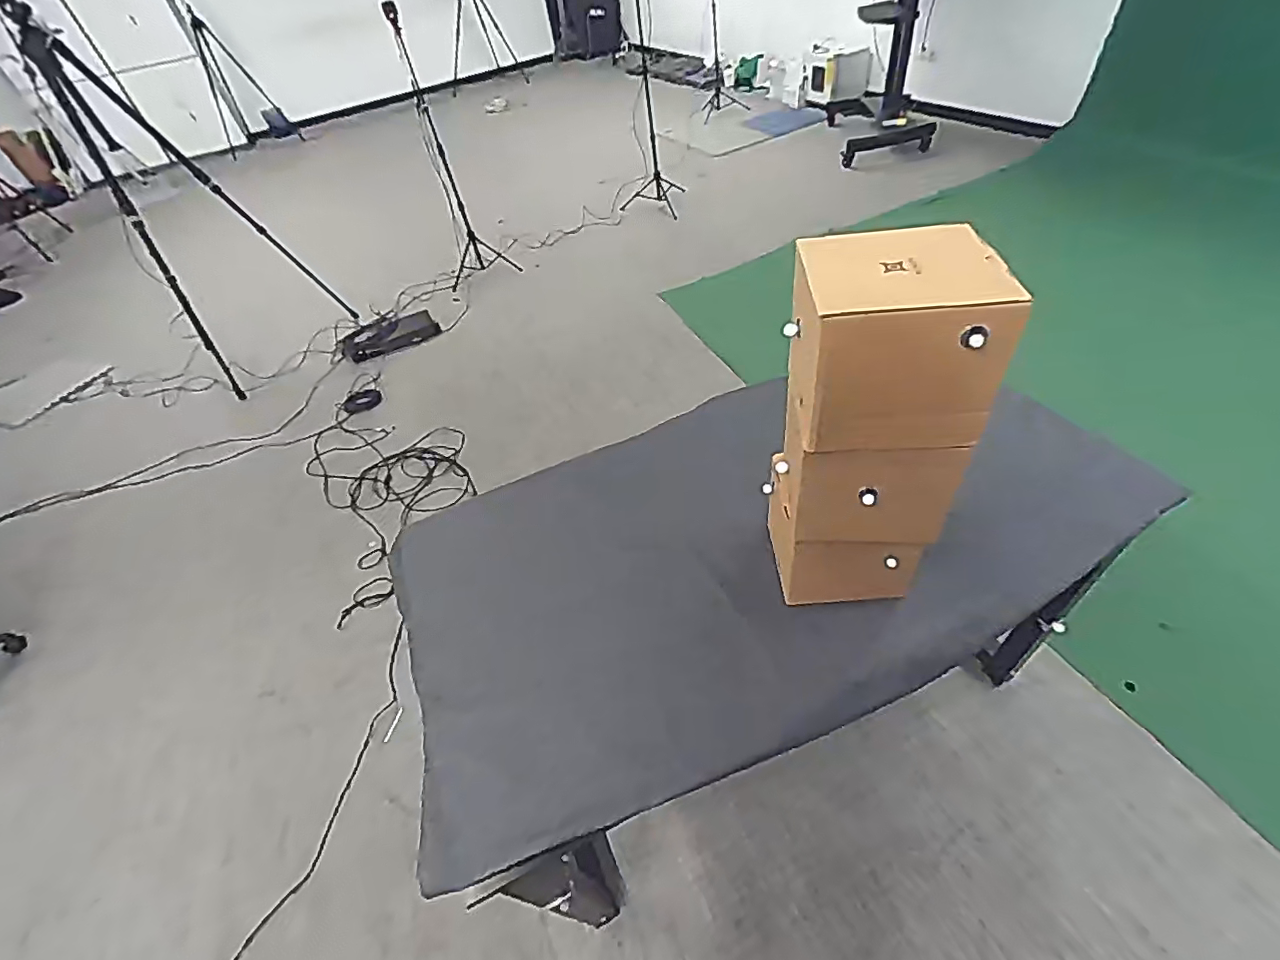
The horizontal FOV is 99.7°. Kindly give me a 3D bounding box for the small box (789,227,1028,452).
[{"bbox_3d":[0.254,-0.142,0.569,0.179,0.176,0.168,-2,46,8],"label":"small box"}]

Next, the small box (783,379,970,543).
[{"bbox_3d":[0.279,-0.032,0.686,0.179,0.176,0.168,-1,46,11],"label":"small box"}]
